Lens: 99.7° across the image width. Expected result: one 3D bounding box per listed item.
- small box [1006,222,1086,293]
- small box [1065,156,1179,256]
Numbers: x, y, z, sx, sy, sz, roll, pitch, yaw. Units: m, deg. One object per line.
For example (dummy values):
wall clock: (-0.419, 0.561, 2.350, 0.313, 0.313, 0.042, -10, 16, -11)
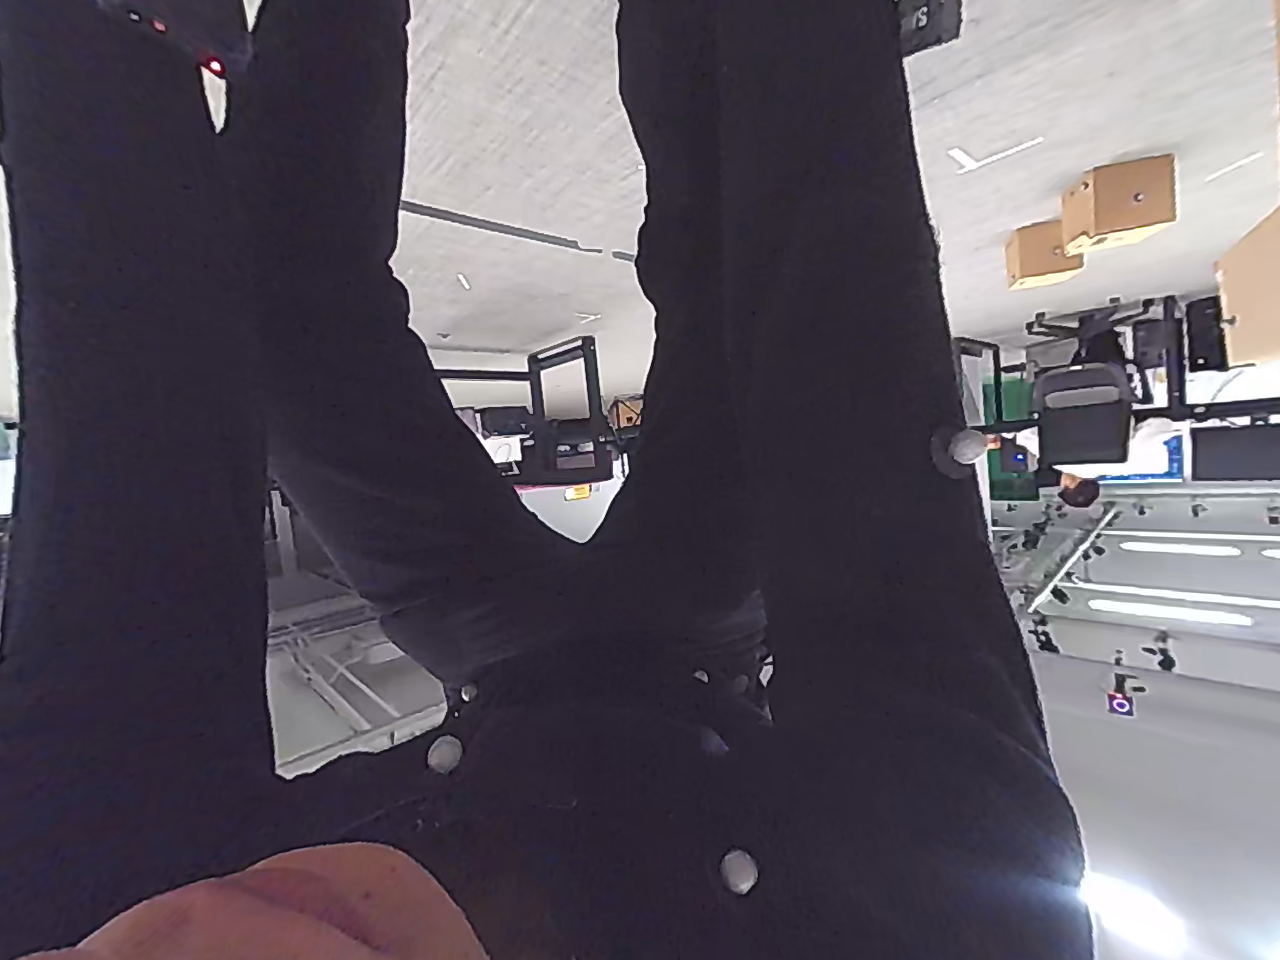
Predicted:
small box: (1.362, -0.751, 1.822, 0.179, 0.176, 0.168, -6, -178, 22)
small box: (1.270, -0.723, 1.438, 0.179, 0.176, 0.168, -5, -177, 15)
